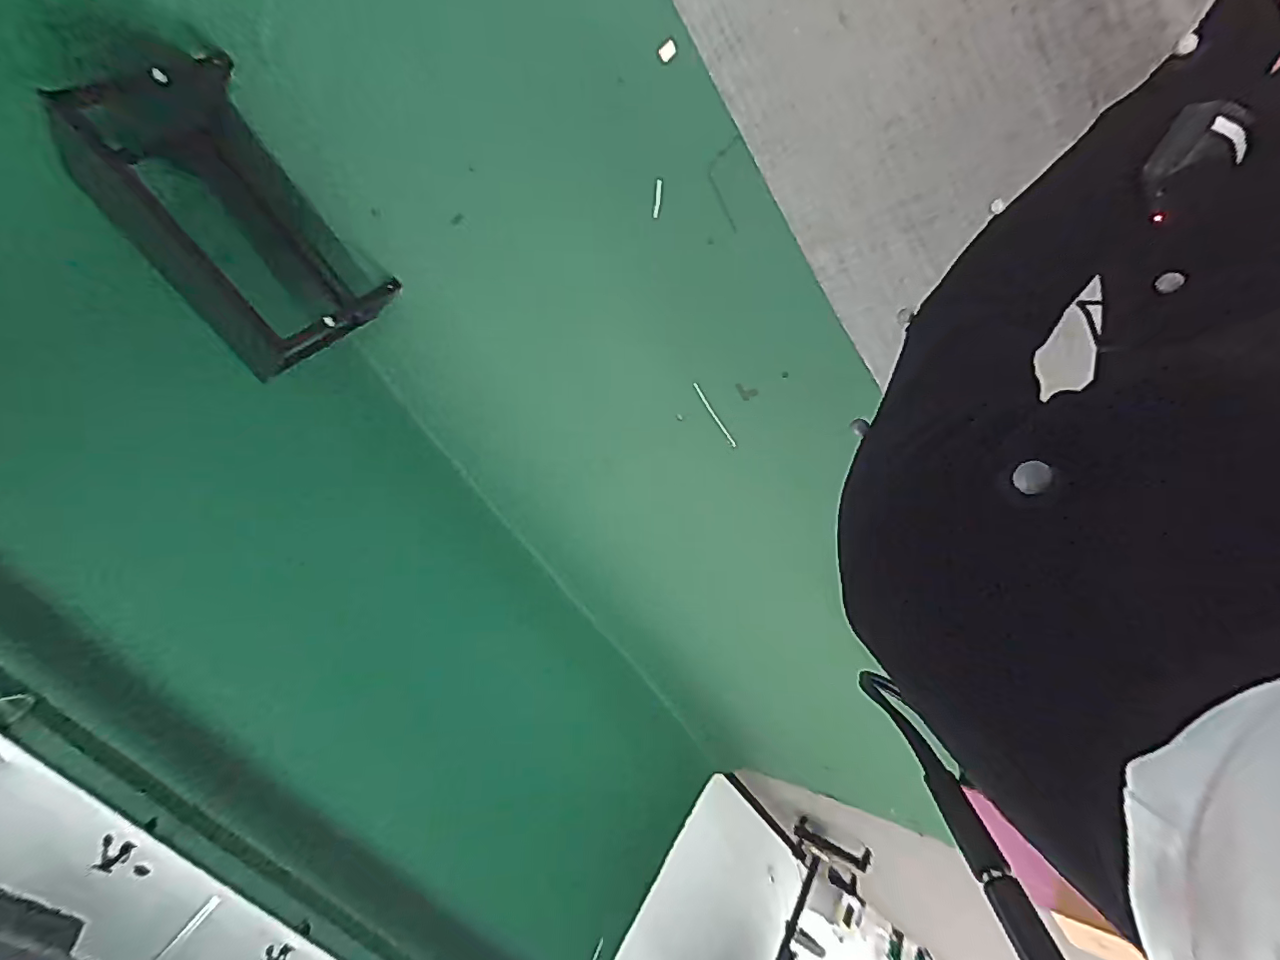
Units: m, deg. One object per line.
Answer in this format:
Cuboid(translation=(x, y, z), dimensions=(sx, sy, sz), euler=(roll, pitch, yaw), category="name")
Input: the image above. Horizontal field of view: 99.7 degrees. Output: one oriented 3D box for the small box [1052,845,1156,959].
Cuboid(translation=(1.162, 1.065, 1.350), dimensions=(0.168, 0.176, 0.179), euler=(-13, 121, 50), category="small box")
